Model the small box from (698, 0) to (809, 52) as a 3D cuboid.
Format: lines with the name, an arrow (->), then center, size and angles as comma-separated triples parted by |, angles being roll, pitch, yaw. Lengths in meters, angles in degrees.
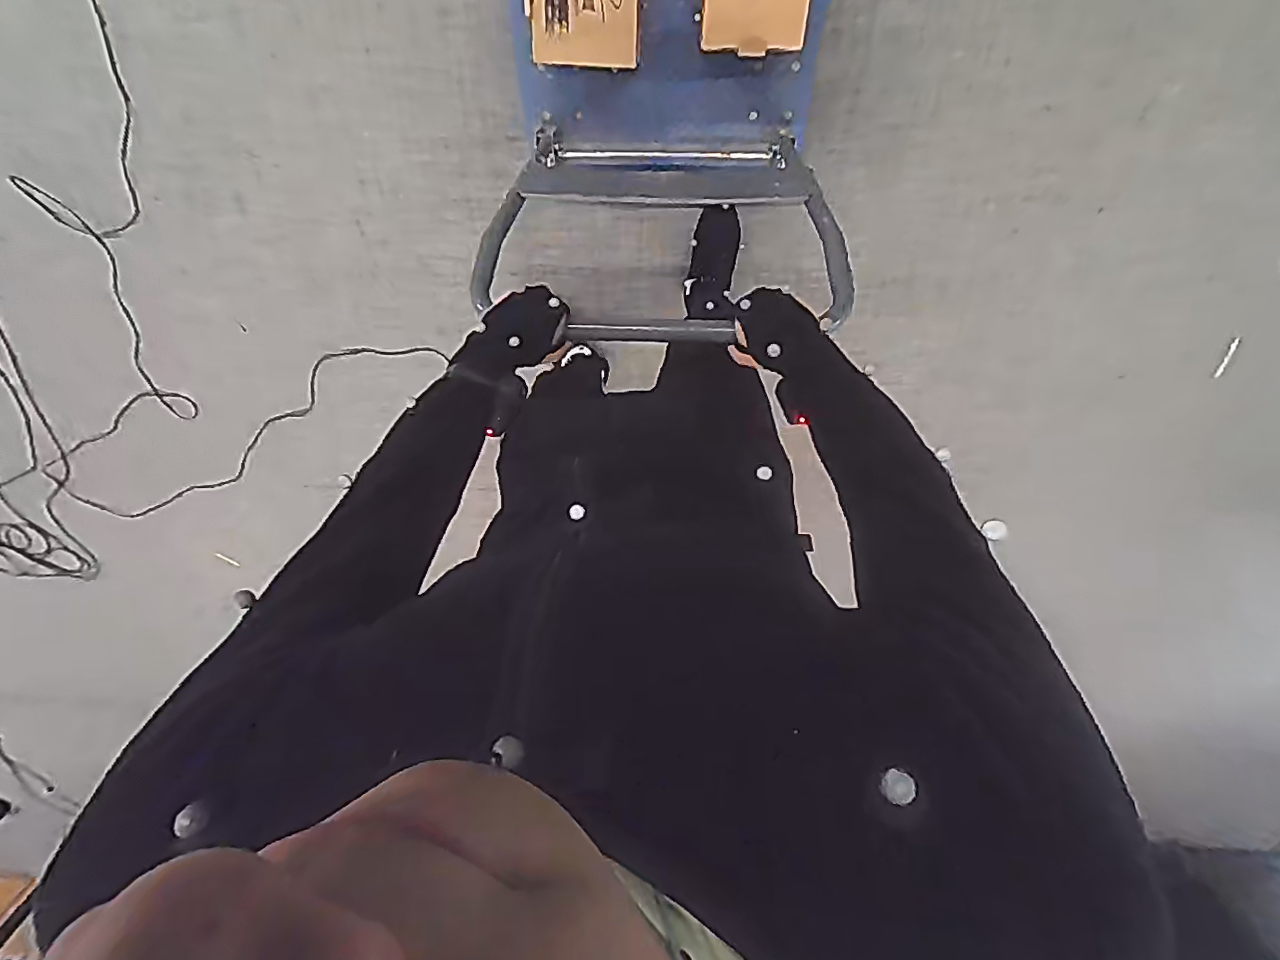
small box -> 0.186, -0.825, 0.892 | 0.168, 0.176, 0.179 | 2, 133, 2
